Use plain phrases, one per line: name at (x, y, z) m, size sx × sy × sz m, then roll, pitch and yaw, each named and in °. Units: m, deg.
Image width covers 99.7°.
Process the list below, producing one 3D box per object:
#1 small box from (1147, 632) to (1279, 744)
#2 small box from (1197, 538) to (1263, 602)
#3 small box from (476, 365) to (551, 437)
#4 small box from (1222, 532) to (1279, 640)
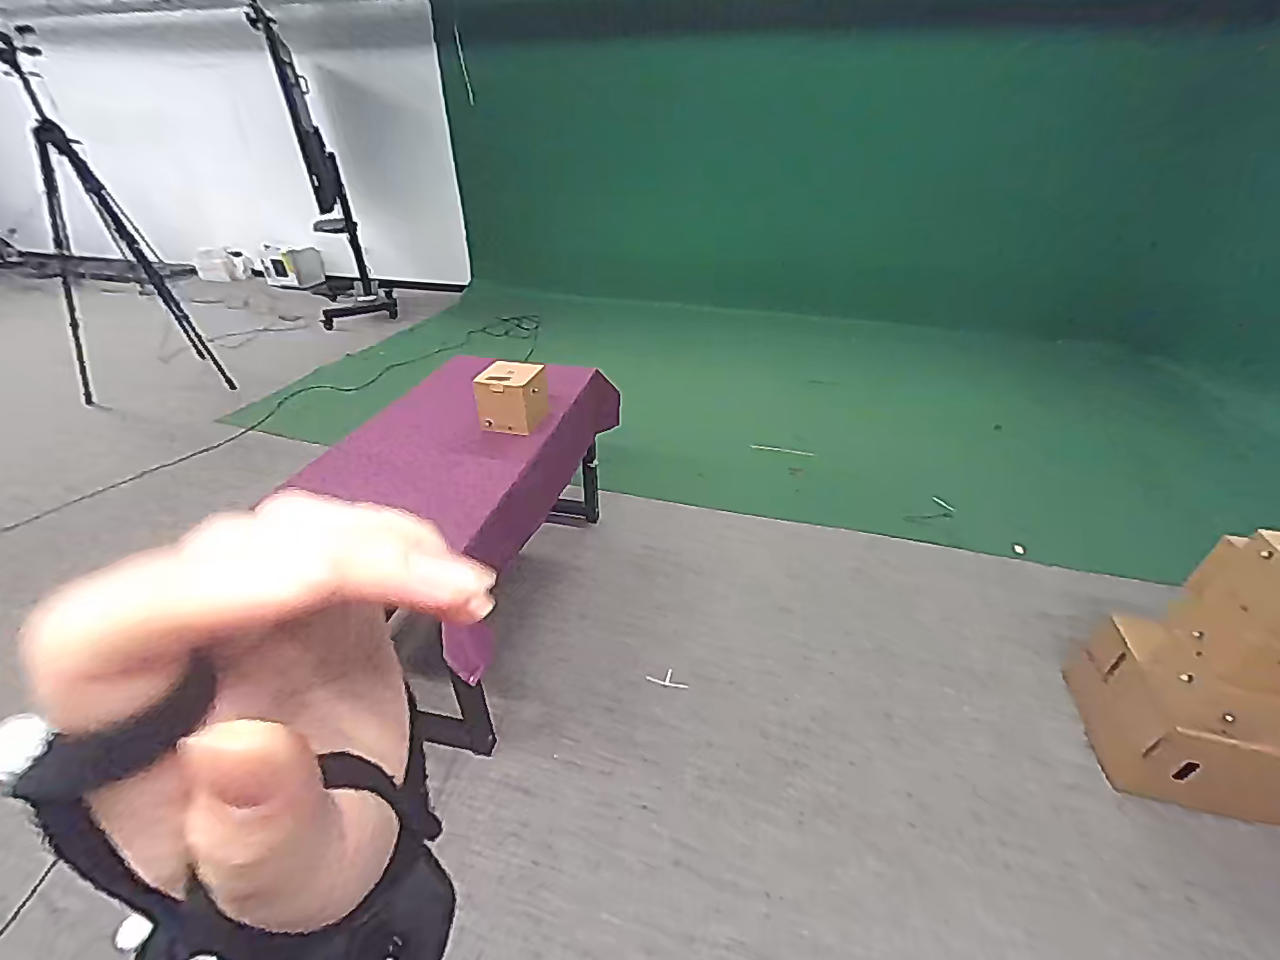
small box at (1.413, 0.509, 1.323) m, size 0.168 × 0.176 × 0.179 m, roll 11°, pitch 36°, yaw 13°
small box at (1.614, 0.278, 1.385) m, size 0.168 × 0.176 × 0.179 m, roll 10°, pitch 34°, yaw 10°
small box at (-0.392, -0.252, 1.717) m, size 0.168 × 0.176 × 0.179 m, roll 8°, pitch 34°, yaw 12°
small box at (1.418, 0.239, 1.139) m, size 0.179 × 0.176 × 0.168 m, roll 10°, pitch 36°, yaw 13°
